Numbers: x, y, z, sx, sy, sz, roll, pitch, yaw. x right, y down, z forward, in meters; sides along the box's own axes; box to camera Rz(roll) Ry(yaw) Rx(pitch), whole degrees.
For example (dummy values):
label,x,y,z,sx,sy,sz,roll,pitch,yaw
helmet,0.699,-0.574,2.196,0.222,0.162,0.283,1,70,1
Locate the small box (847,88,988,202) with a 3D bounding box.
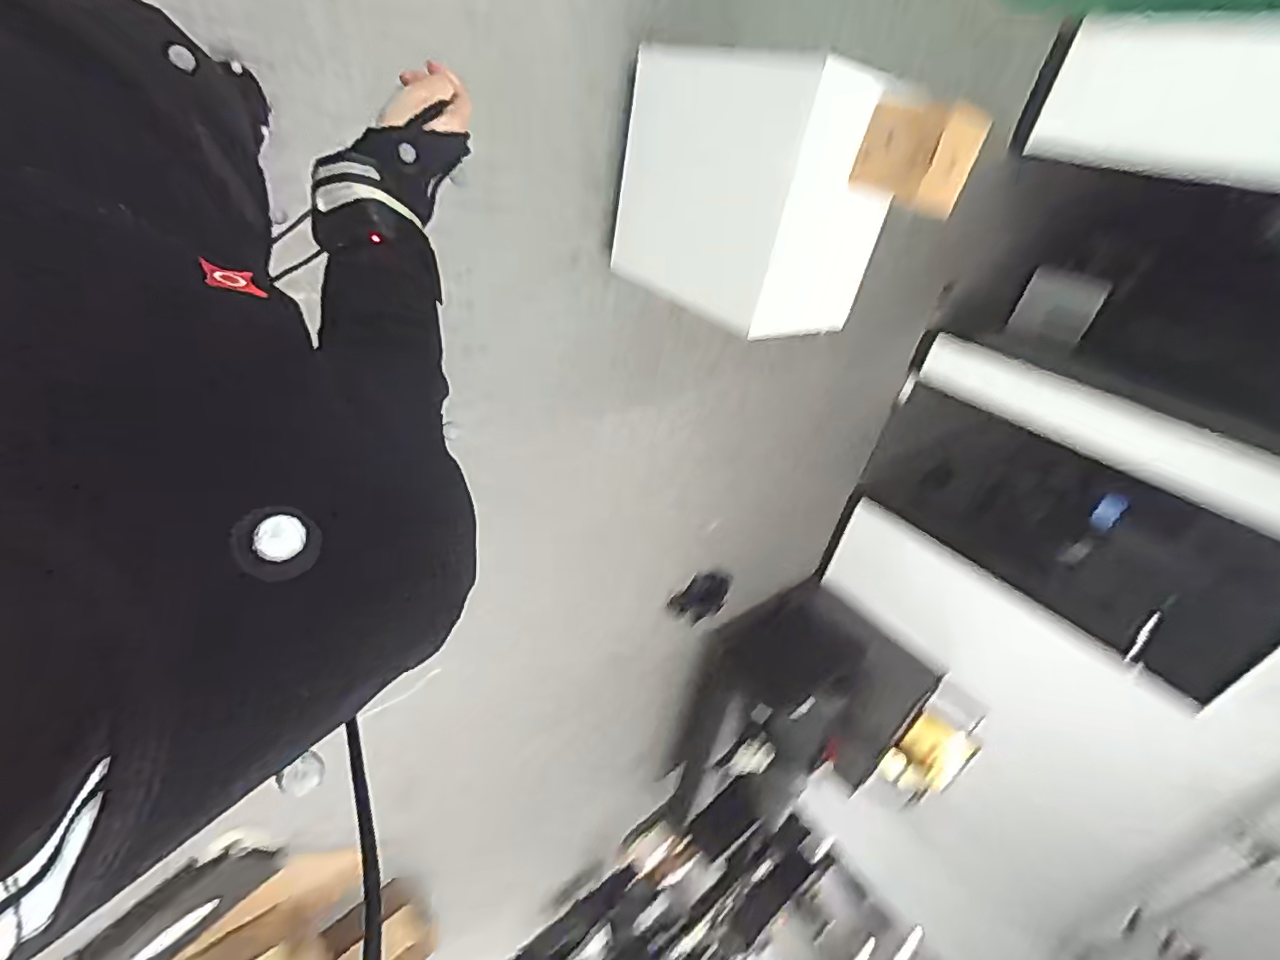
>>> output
label,x,y,z,sx,sy,sz,roll,pitch,yaw
small box,0.573,-0.698,1.130,0.179,0.176,0.168,-14,132,-37
